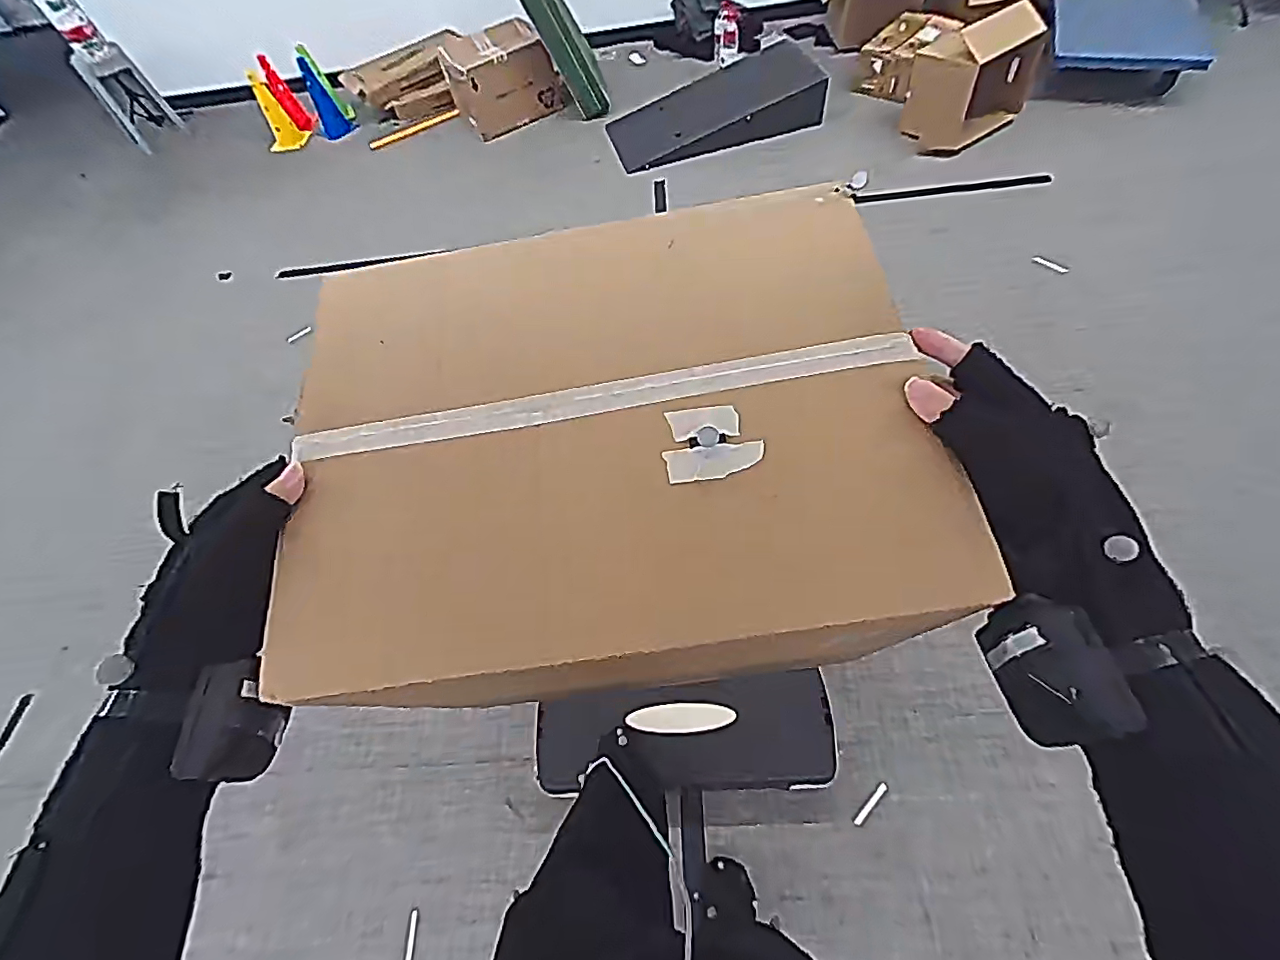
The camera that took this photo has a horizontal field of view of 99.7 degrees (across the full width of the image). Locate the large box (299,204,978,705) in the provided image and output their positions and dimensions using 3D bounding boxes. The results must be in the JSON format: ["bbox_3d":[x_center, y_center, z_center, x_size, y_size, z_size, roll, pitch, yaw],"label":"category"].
[{"bbox_3d":[-0.010,0.014,0.502,0.408,0.320,0.320,-9,67,3],"label":"large box"}]
